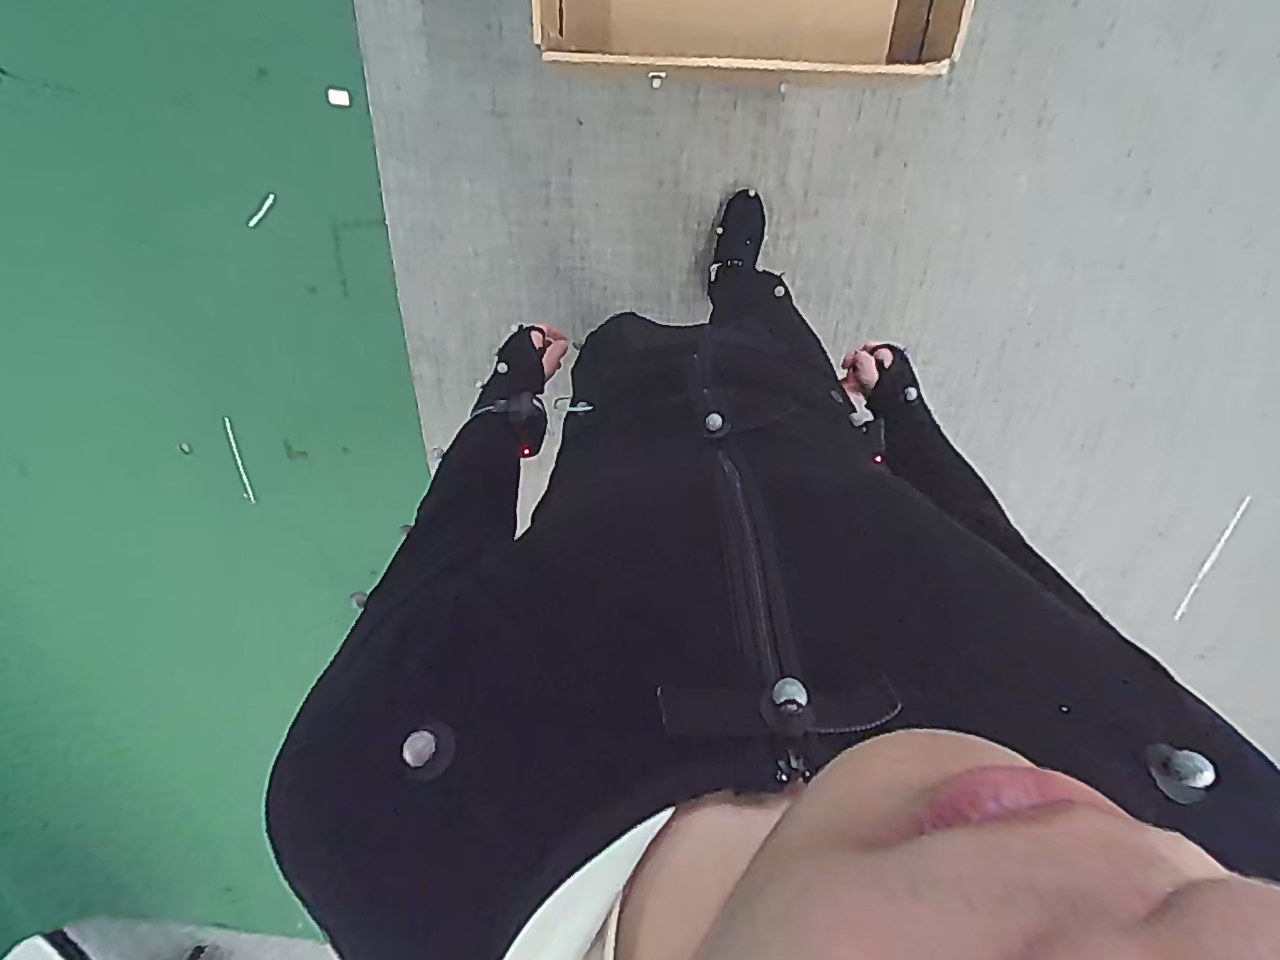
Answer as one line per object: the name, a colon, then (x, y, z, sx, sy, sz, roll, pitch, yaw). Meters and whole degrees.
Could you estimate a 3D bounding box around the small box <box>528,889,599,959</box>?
small box: (-0.205, 1.273, 1.487, 0.168, 0.176, 0.179, 5, 117, 2)
